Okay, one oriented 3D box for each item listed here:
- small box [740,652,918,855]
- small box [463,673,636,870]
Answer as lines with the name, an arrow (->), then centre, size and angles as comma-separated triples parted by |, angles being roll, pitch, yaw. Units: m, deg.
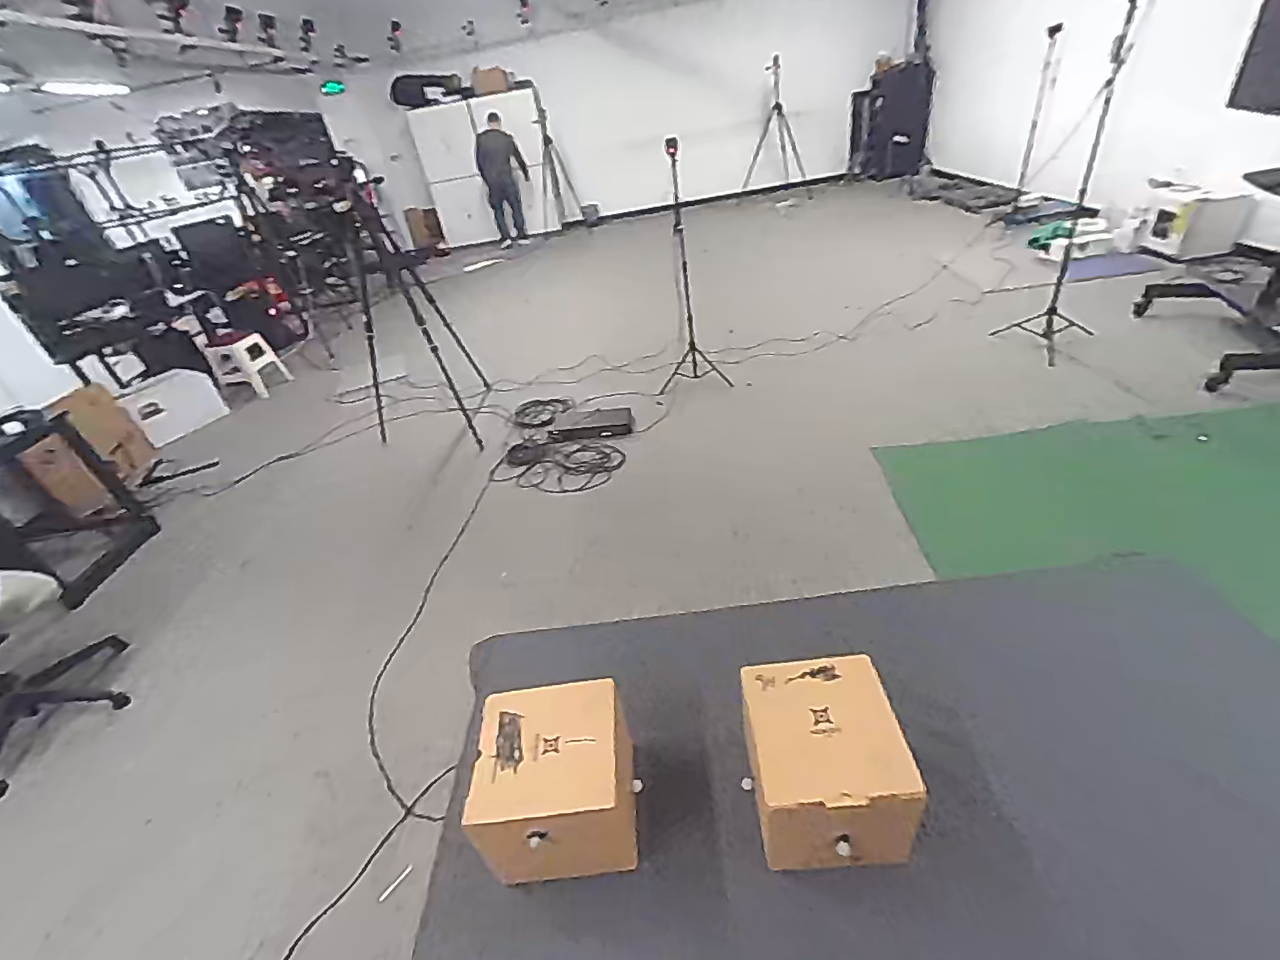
small box -> 0.223, 0.345, 0.678 | 0.168, 0.176, 0.179 | -7, 36, 5
small box -> -0.105, 0.382, 0.709 | 0.179, 0.176, 0.168 | -8, 35, 2
